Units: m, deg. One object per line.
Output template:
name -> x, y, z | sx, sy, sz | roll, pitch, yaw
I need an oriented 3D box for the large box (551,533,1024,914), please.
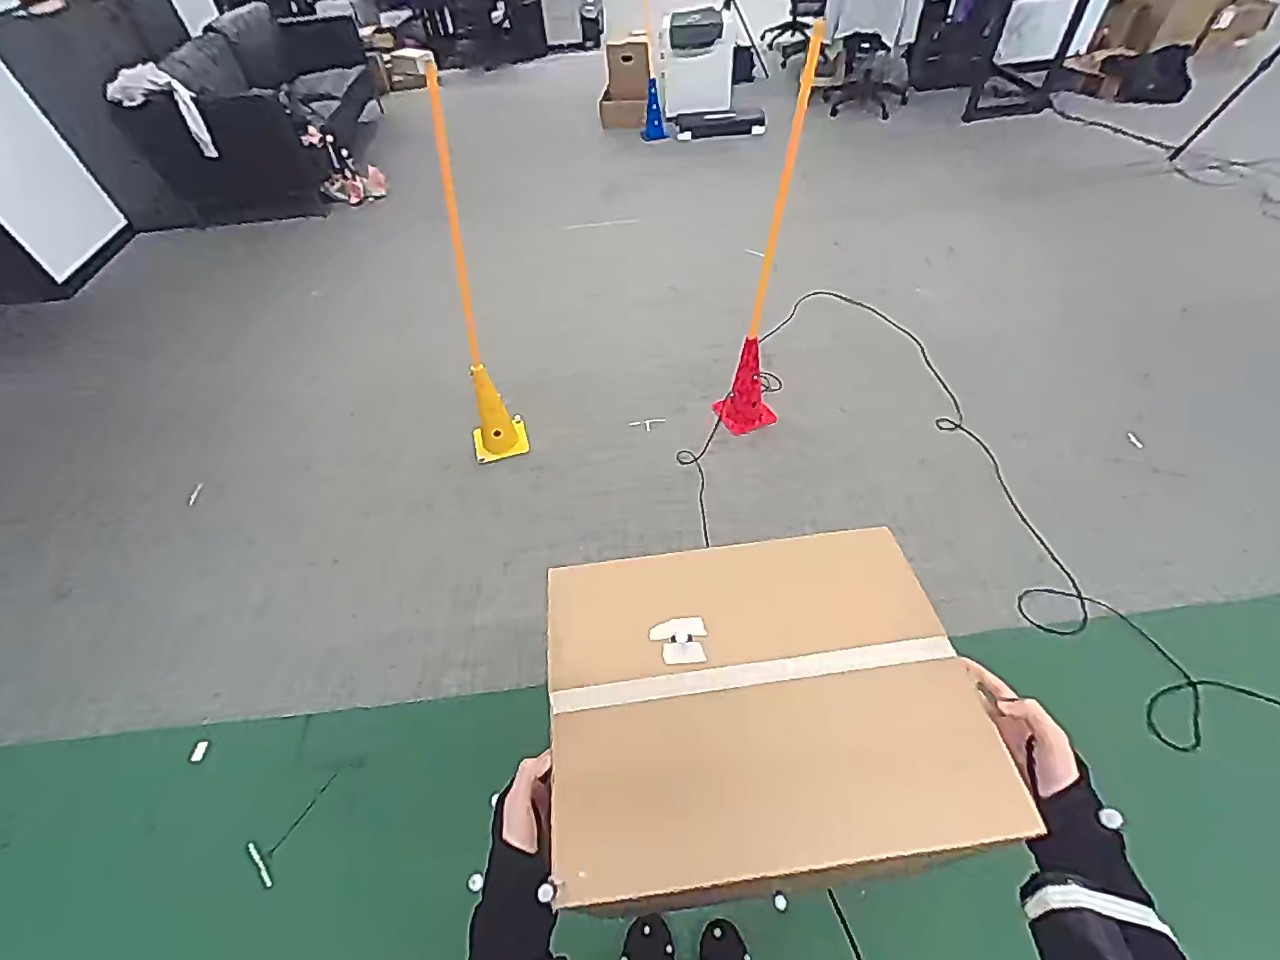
large box -> 0.122, 0.299, 0.655 | 0.408, 0.320, 0.320 | -7, 49, -2
